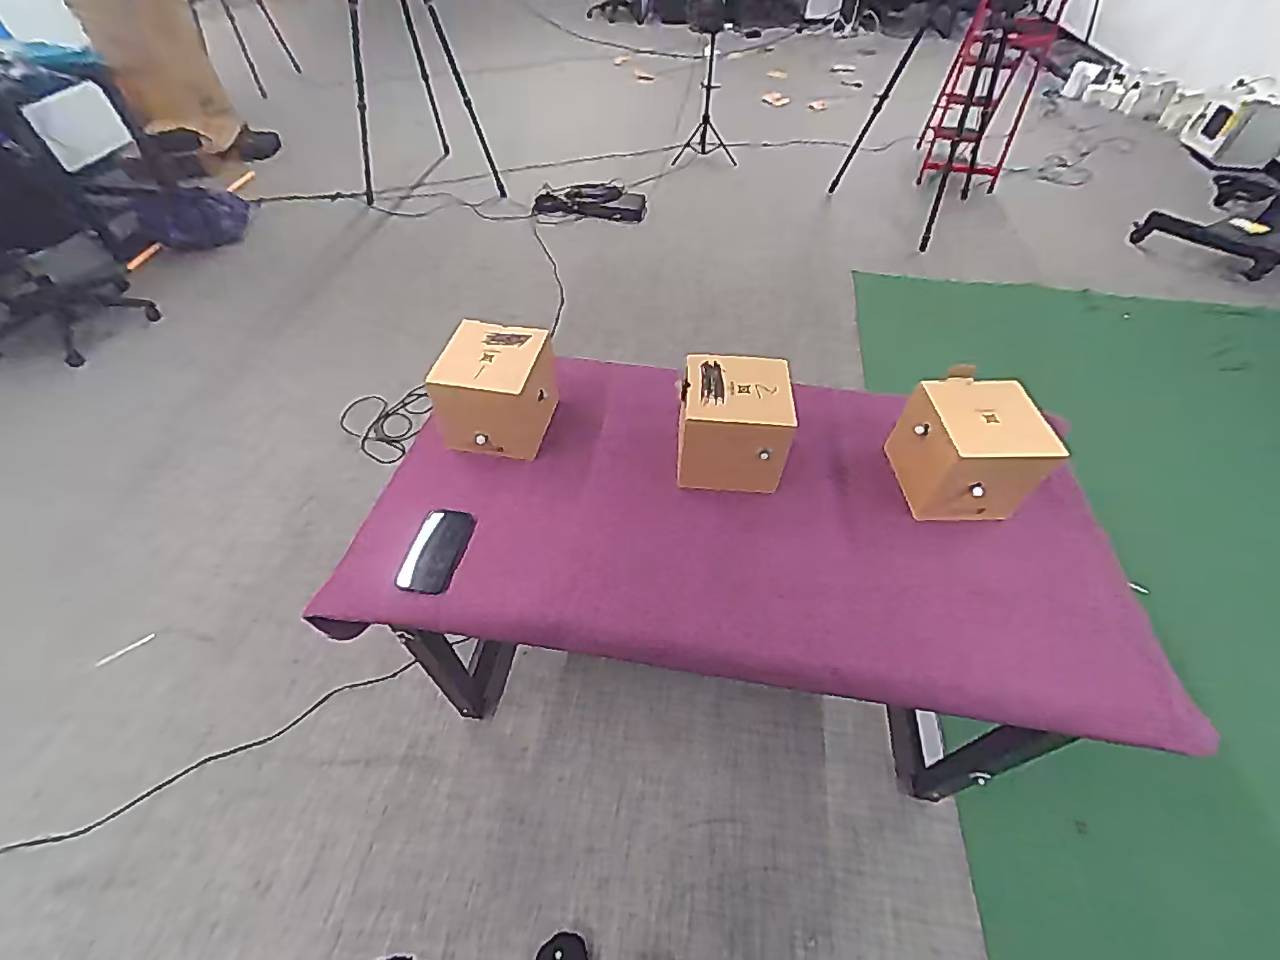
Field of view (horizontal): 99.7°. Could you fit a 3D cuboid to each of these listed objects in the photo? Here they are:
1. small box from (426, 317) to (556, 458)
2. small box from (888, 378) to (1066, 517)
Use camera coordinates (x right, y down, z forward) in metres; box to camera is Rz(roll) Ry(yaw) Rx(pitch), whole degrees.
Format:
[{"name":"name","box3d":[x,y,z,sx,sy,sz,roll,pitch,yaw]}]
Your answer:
[{"name":"small box","box3d":[-0.256,-0.168,0.984,0.168,0.176,0.179,9,53,6]},{"name":"small box","box3d":[0.545,-0.050,0.907,0.168,0.176,0.179,-1,50,-1]}]
